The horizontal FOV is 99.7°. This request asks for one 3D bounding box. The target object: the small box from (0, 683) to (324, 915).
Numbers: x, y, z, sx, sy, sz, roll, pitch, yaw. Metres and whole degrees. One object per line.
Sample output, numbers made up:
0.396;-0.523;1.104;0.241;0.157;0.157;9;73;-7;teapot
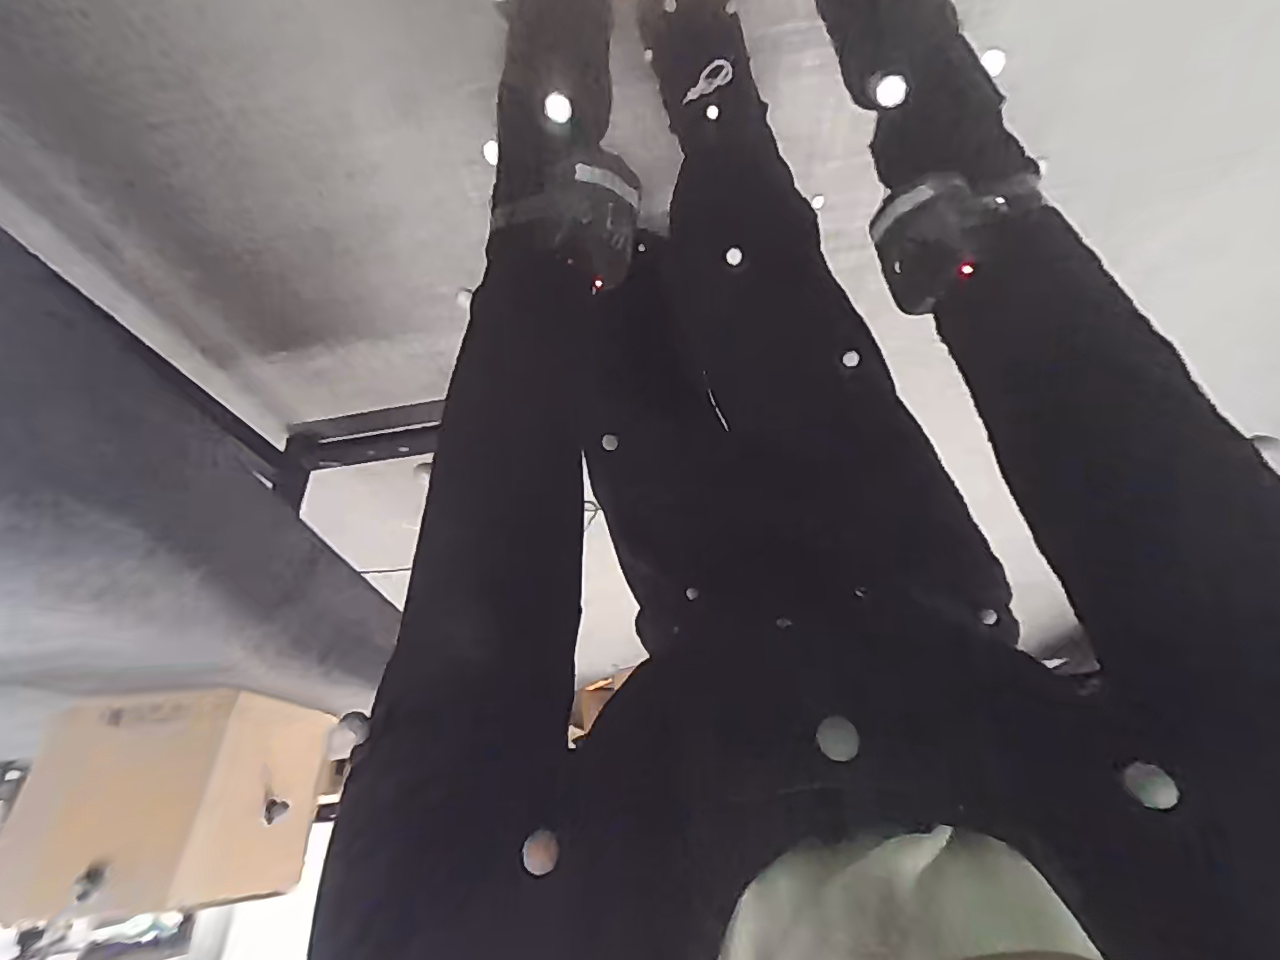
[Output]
-0.444;0.299;0.521;0.168;0.176;0.179;-4;148;2;small box
